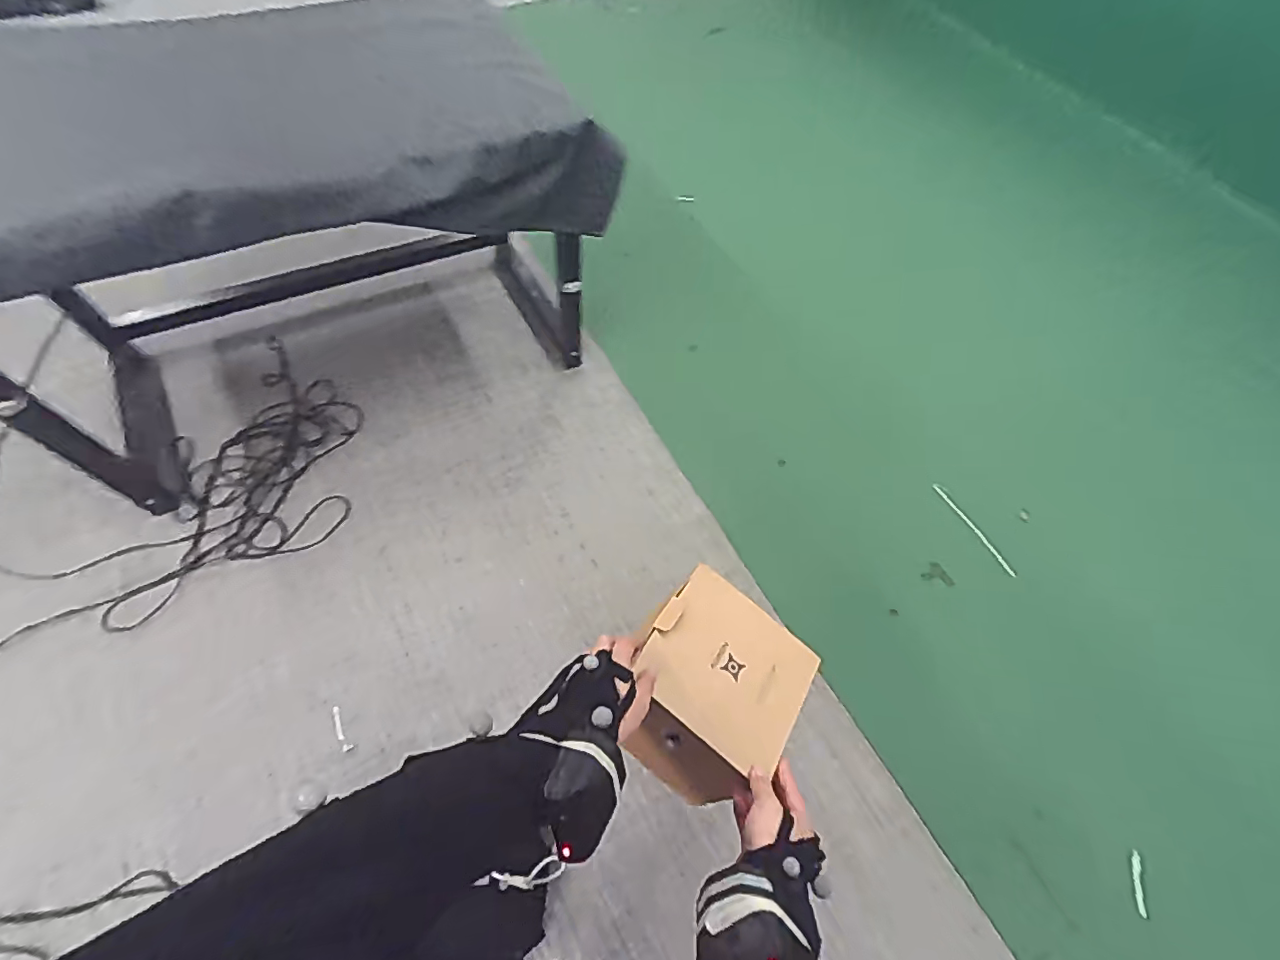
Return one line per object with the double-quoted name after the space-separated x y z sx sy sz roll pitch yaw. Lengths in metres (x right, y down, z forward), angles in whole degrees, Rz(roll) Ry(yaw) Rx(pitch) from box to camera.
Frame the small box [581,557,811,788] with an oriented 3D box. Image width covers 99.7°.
0.056 0.229 0.627 0.179 0.176 0.168 39 51 4 "small box"
